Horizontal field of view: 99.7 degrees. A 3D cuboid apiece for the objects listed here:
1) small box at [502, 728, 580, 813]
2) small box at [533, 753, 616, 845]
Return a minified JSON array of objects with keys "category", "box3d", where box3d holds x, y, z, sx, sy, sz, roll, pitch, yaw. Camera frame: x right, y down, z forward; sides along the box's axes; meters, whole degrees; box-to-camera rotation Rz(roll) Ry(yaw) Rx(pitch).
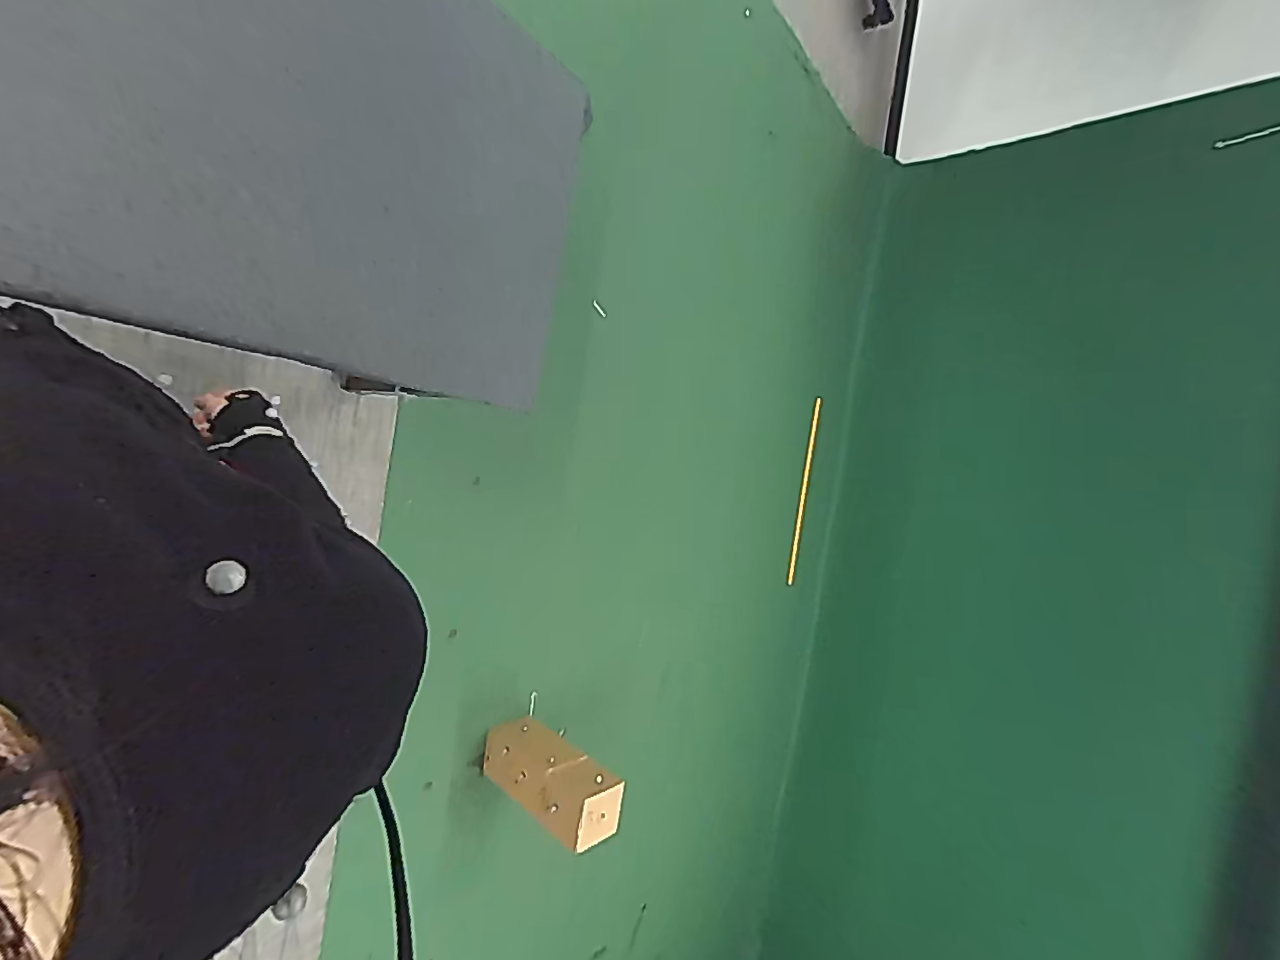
[{"category":"small box","box3d":[-0.331,0.958,1.805,0.179,0.176,0.168,7,93,-49]},{"category":"small box","box3d":[-0.207,0.990,1.700,0.179,0.176,0.168,10,91,-49]}]
